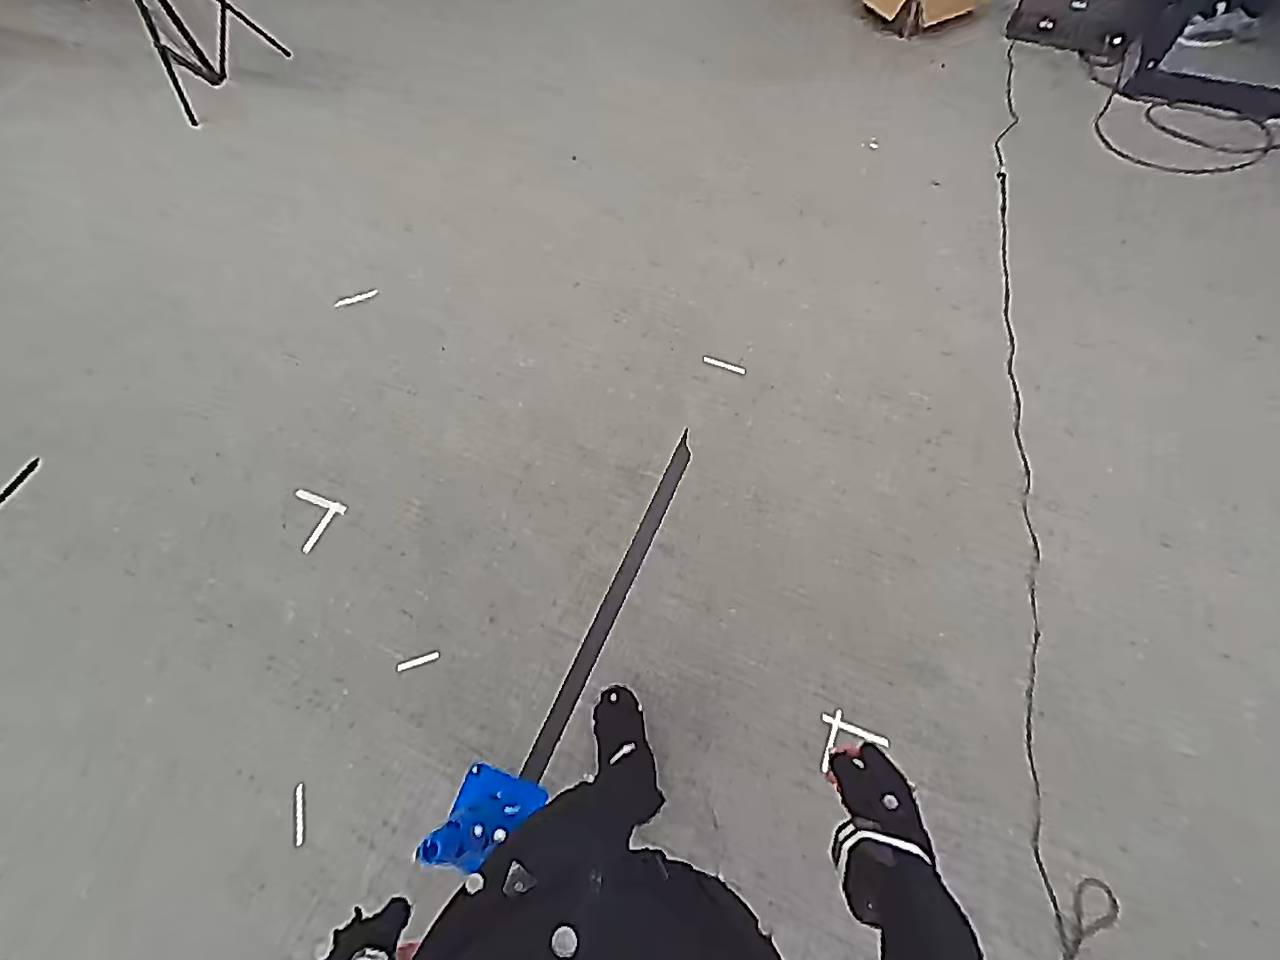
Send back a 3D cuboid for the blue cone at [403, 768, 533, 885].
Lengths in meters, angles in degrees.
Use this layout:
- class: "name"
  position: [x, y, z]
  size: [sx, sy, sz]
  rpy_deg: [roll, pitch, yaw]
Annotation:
- class: "blue cone"
  position: [-0.354, 0.690, 1.053]
  size: [0.192, 0.380, 0.193]
  rpy_deg: [17, 65, 12]
